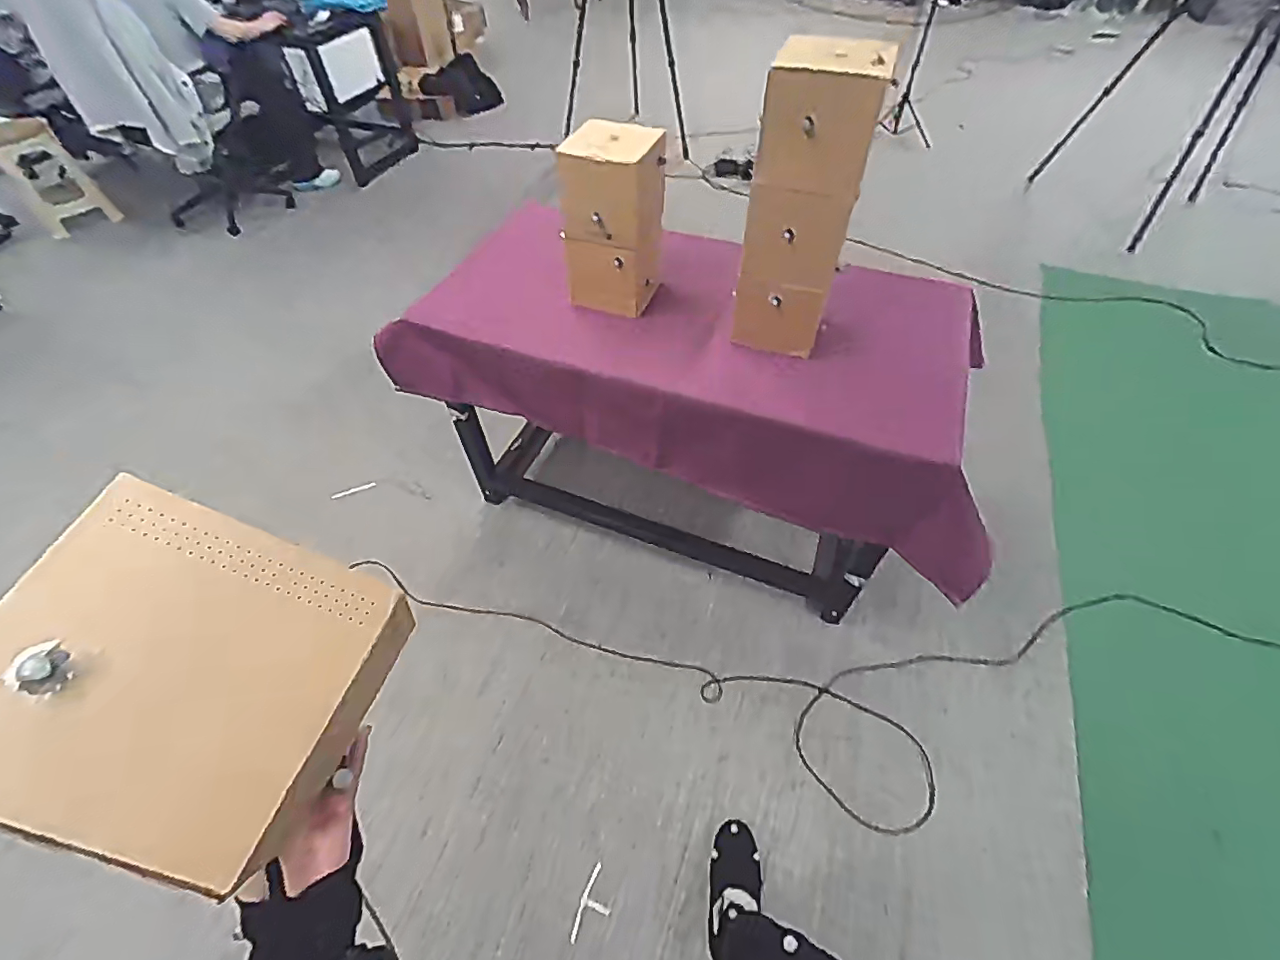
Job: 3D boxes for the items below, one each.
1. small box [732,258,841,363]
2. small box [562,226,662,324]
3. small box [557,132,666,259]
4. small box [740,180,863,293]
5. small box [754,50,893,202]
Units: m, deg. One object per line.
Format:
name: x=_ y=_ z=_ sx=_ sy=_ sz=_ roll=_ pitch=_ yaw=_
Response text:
small box: x=0.302 y=-0.371 z=1.142 sx=0.179 sy=0.176 sz=0.168 roll=17 pitch=54 yaw=14
small box: x=-0.059 y=-0.483 z=1.245 sx=0.179 sy=0.176 sz=0.168 roll=16 pitch=53 yaw=13
small box: x=-0.053 y=-0.587 z=1.117 sx=0.168 sy=0.176 sz=0.179 roll=16 pitch=53 yaw=14
small box: x=0.298 y=-0.475 z=1.015 sx=0.179 sy=0.176 sz=0.168 roll=16 pitch=54 yaw=15
small box: x=0.294 y=-0.580 z=0.889 sx=0.179 sy=0.176 sz=0.168 roll=15 pitch=54 yaw=14
